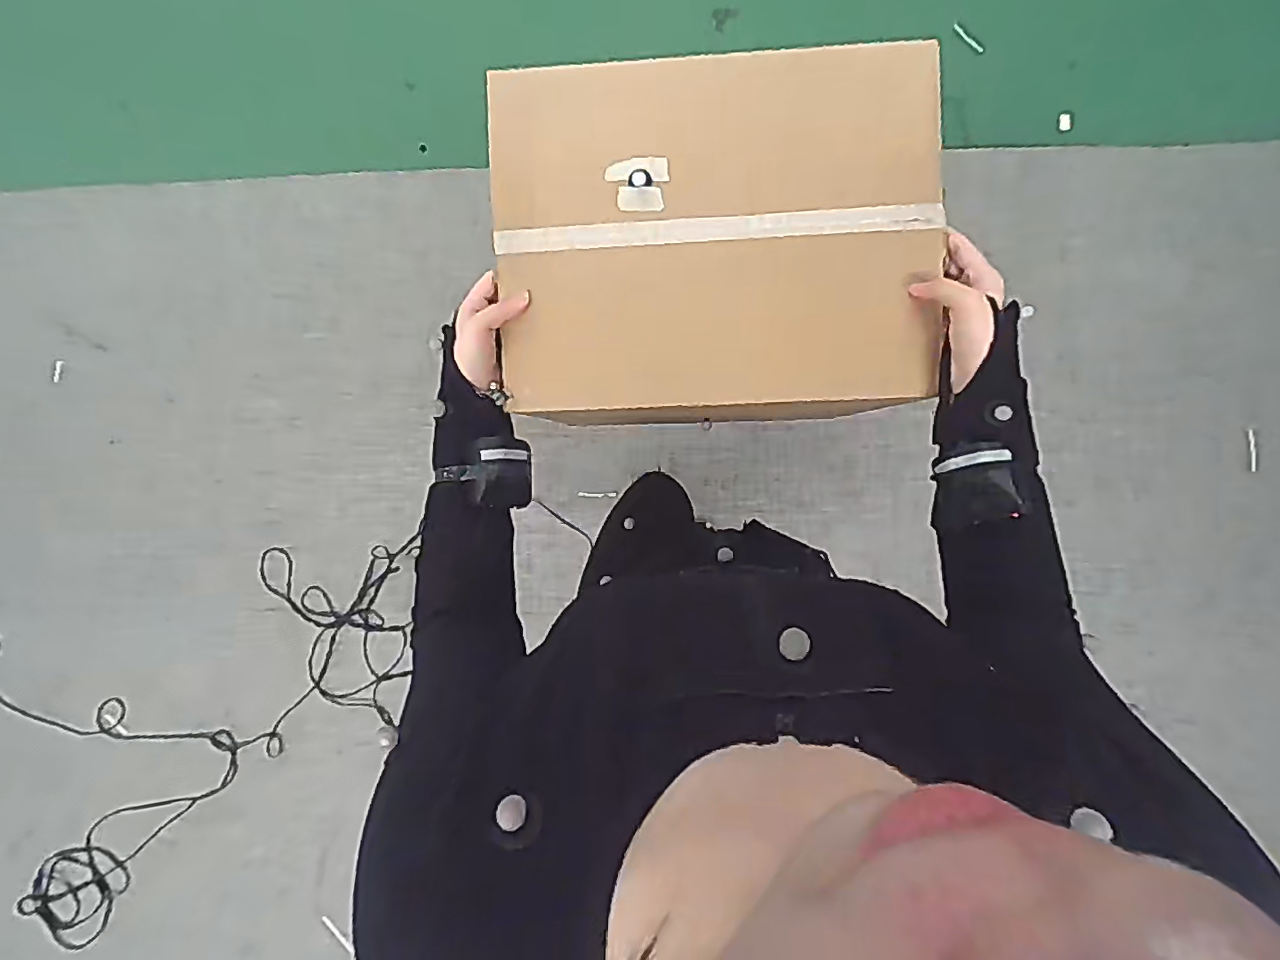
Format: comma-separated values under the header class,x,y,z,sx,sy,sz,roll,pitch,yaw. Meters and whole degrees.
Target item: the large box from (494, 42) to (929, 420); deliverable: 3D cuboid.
class,x,y,z,sx,sy,sz,roll,pitch,yaw
large box,0.077,-0.241,0.657,0.408,0.320,0.320,-2,93,5
